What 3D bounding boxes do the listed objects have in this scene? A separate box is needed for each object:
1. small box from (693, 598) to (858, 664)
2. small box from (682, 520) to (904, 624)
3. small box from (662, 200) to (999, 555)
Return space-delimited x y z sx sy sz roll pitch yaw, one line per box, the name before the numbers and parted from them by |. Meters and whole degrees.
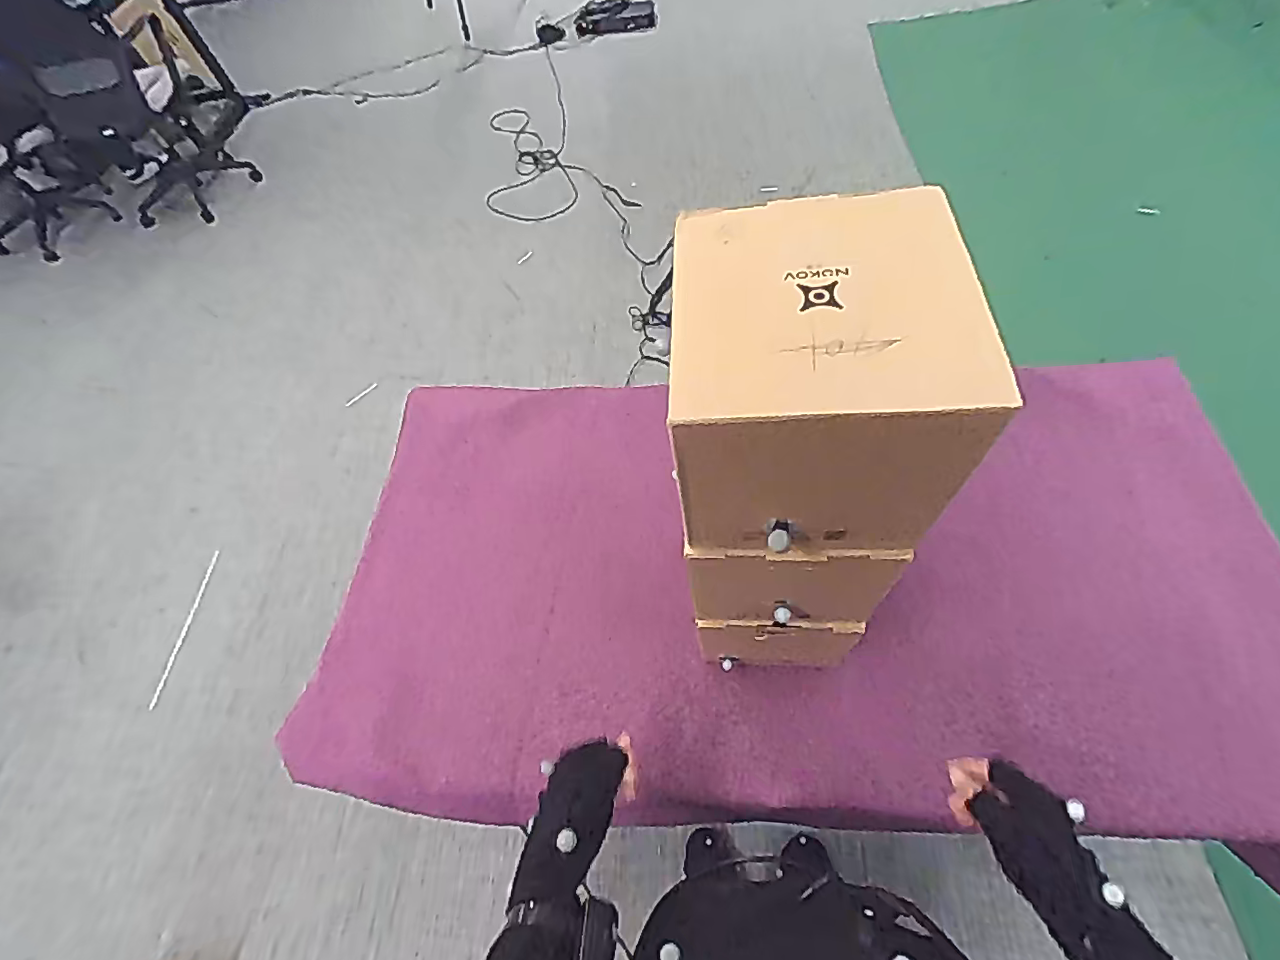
small box | 0.154 0.115 0.652 0.168 0.176 0.179 0 59 9
small box | 0.130 0.025 0.517 0.168 0.176 0.179 -1 60 9
small box | 0.109 -0.062 0.380 0.168 0.176 0.179 -1 59 9
